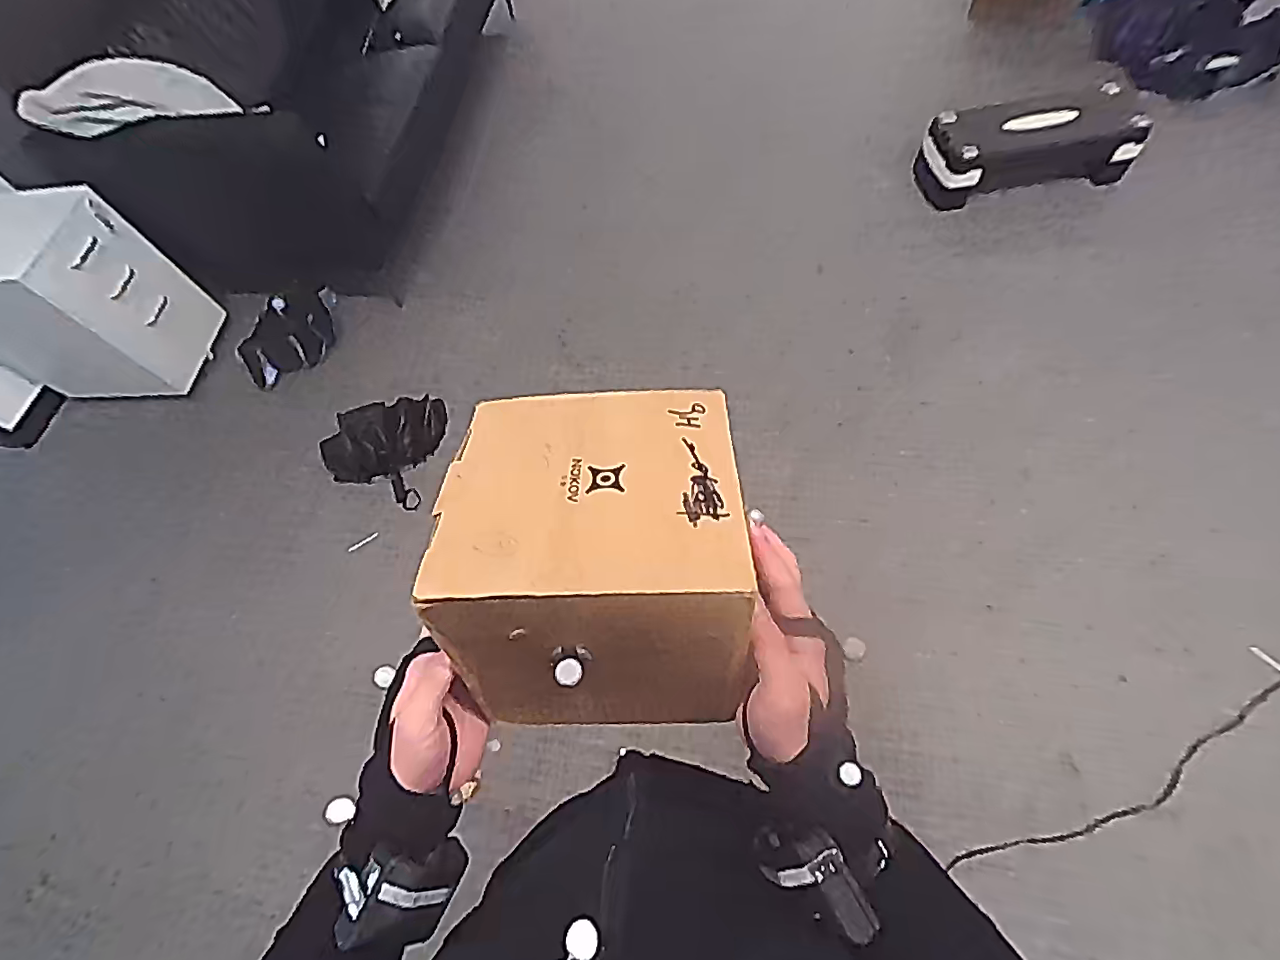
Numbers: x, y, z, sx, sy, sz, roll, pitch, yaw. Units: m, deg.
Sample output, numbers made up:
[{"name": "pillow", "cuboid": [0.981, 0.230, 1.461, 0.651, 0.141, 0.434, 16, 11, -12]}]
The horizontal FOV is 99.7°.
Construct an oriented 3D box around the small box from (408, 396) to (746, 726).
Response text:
[{"name": "small box", "cuboid": [-0.026, 0.060, 0.381, 0.179, 0.176, 0.168, -2, 44, 3]}]
